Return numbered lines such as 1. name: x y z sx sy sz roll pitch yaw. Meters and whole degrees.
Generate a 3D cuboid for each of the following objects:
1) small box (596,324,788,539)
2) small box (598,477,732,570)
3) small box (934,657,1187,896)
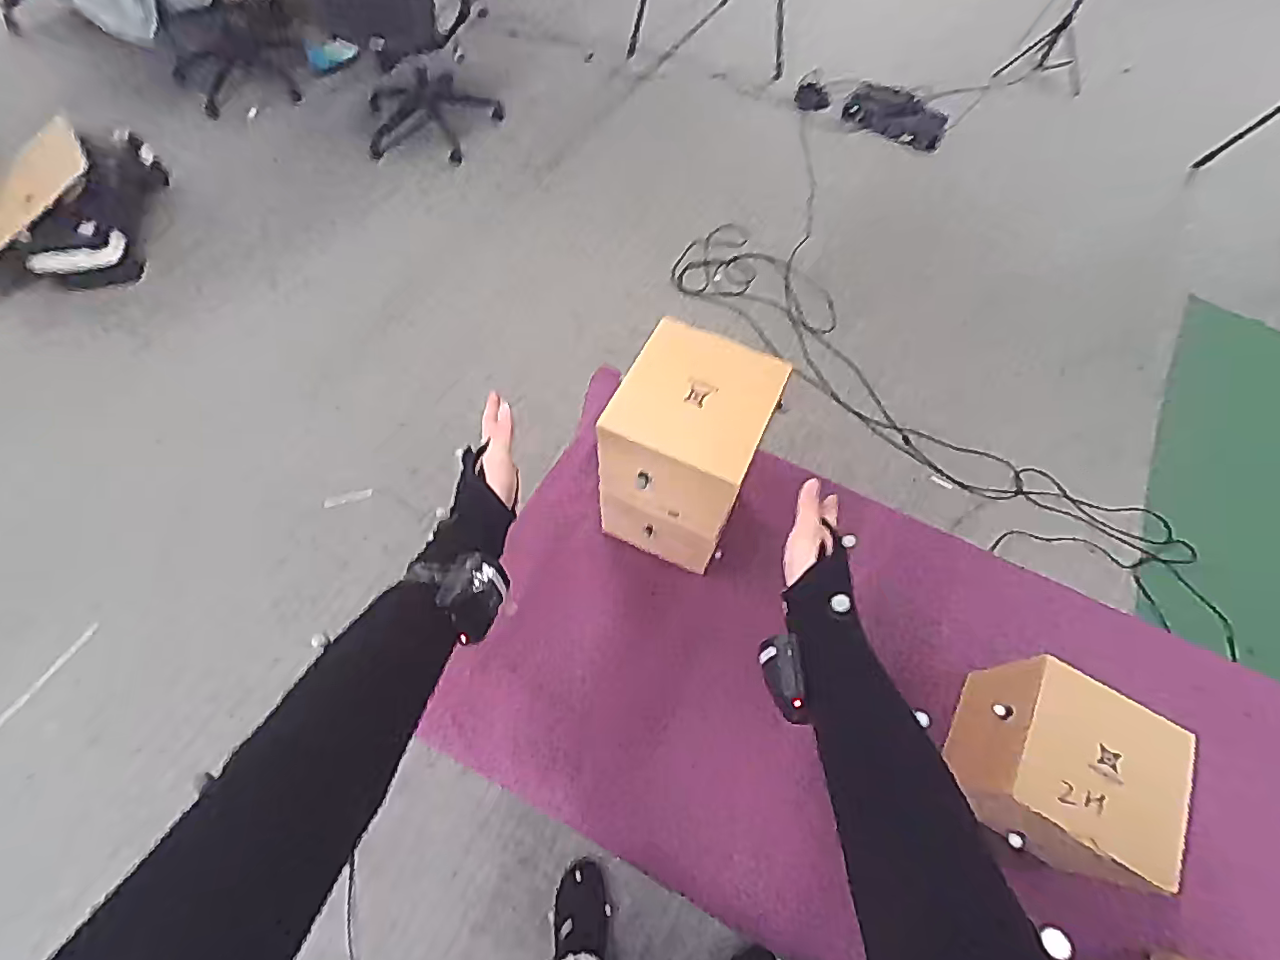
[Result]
1. small box: 0.060 -0.052 0.669 0.168 0.176 0.179 23 63 10
2. small box: 0.052 0.017 0.815 0.179 0.176 0.168 23 64 10
3. small box: 0.496 0.348 0.660 0.168 0.176 0.179 30 66 14
